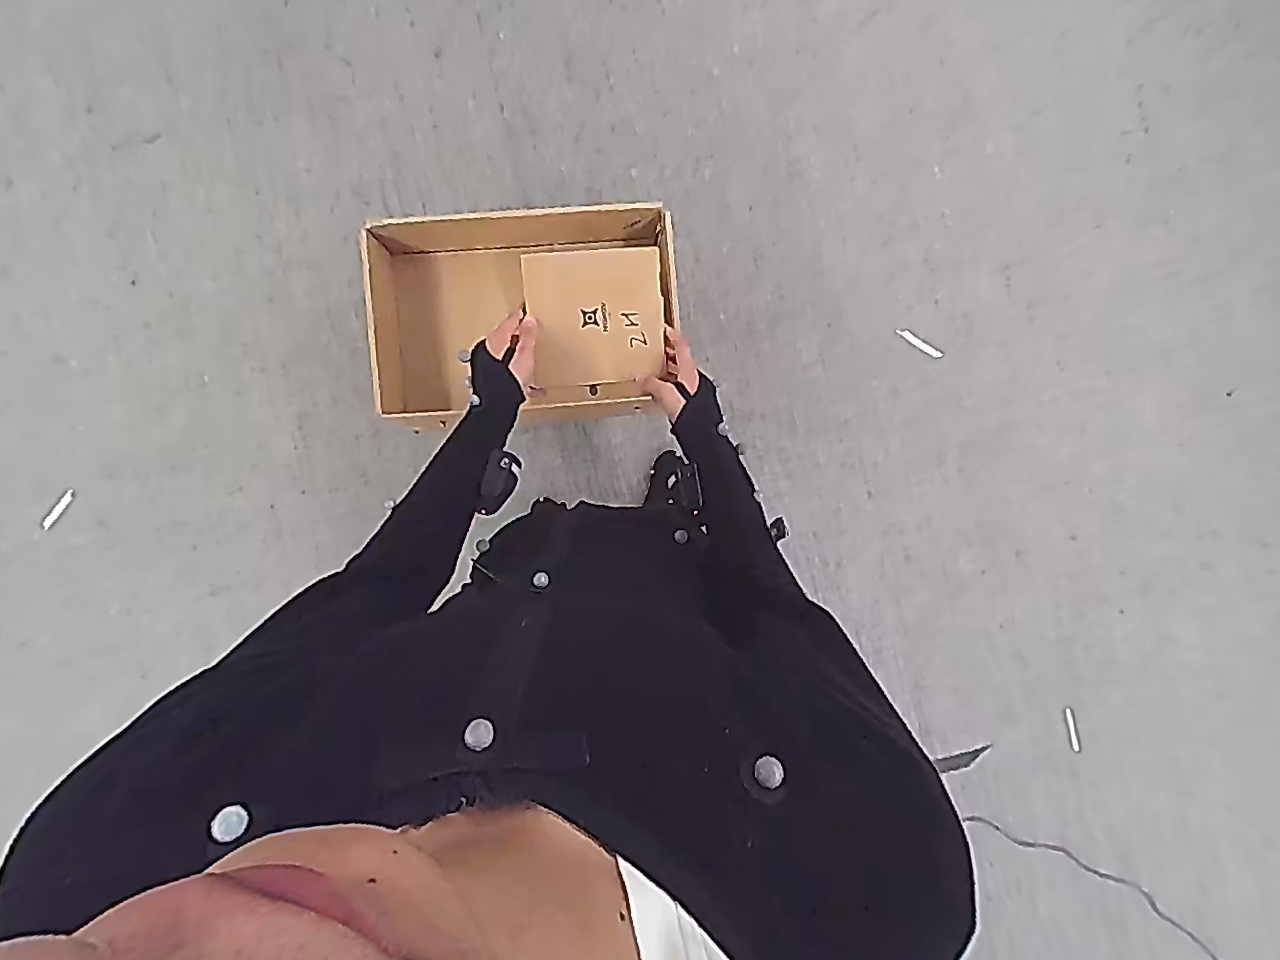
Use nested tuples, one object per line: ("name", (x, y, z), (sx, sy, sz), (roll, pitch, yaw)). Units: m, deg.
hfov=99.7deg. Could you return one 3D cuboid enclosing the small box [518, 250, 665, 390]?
("small box", (-0.066, -0.214, 0.755), (0.179, 0.176, 0.168), (-5, 101, -6))
